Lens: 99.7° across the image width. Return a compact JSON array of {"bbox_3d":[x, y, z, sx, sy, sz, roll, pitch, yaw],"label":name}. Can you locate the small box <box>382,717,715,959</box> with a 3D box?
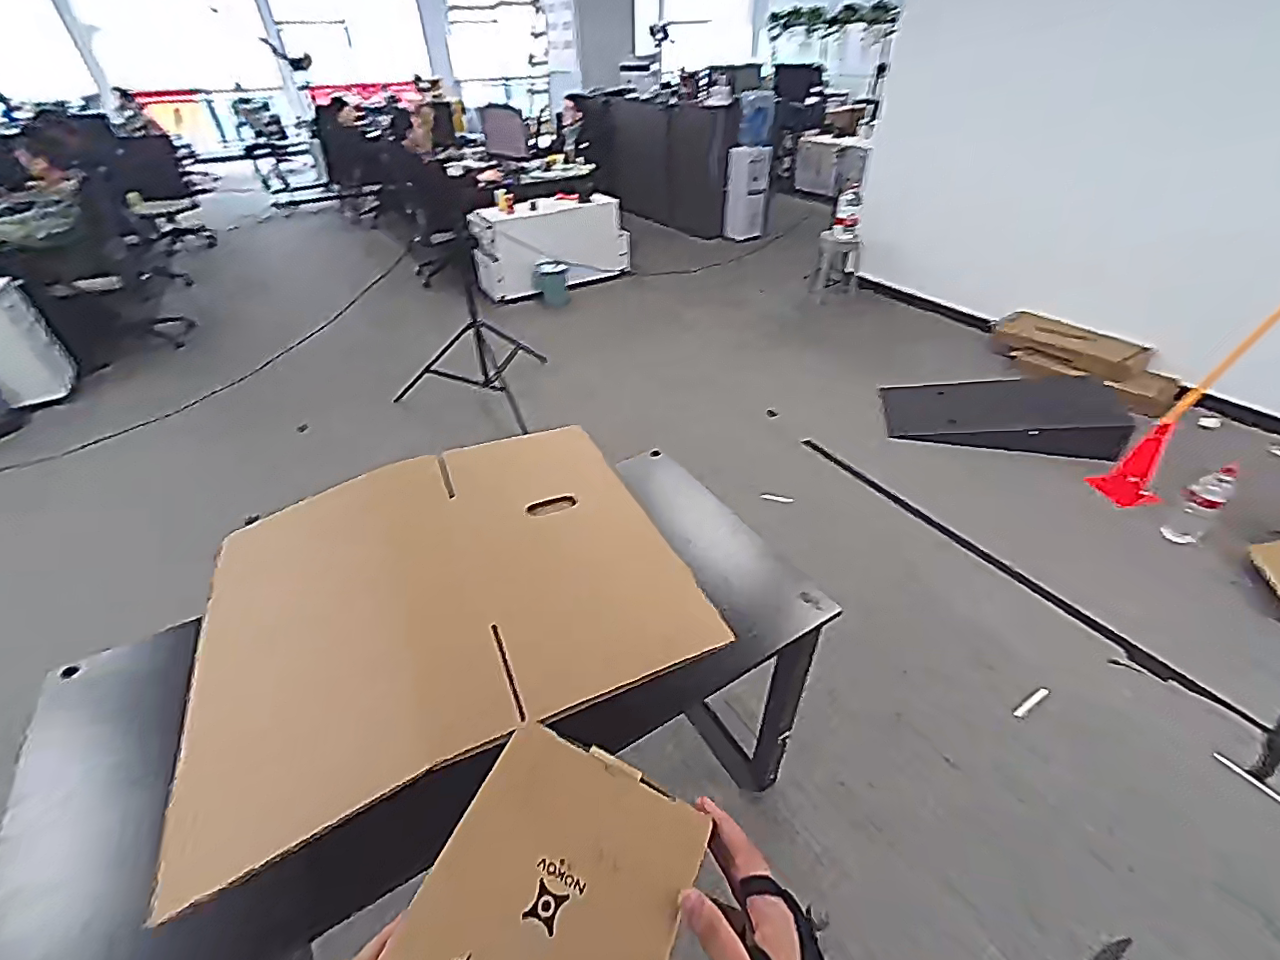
[{"bbox_3d":[-0.055,0.329,0.421,0.168,0.176,0.179,19,48,17],"label":"small box"}]
